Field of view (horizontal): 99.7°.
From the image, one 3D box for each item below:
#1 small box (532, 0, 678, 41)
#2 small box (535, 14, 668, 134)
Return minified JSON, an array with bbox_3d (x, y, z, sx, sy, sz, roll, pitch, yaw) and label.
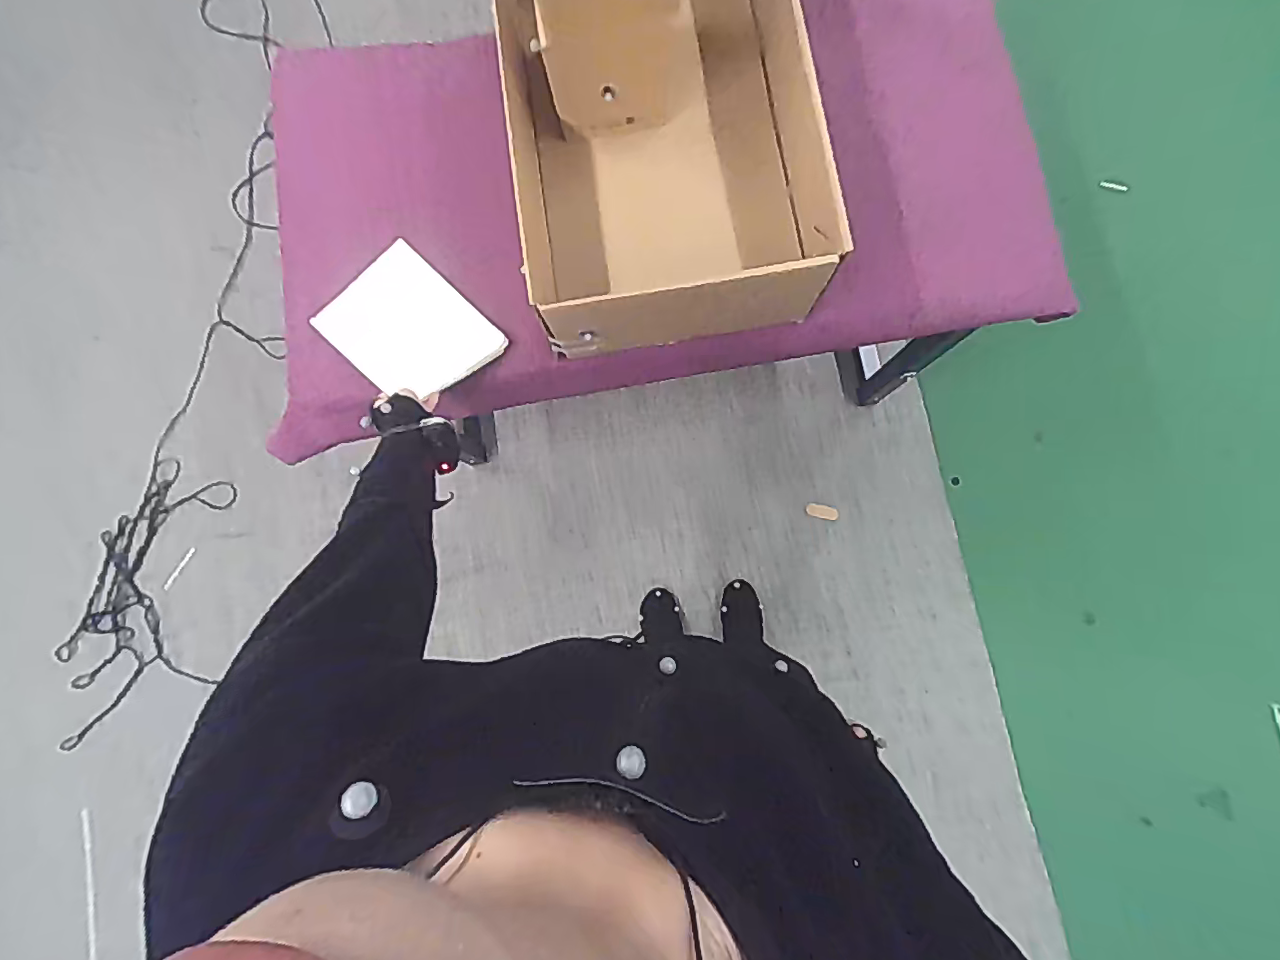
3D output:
[{"bbox_3d":[-0.056,-0.645,0.606,0.179,0.176,0.168,-11,83,2],"label":"small box"},{"bbox_3d":[-0.052,-0.628,0.767,0.168,0.176,0.179,-8,83,2],"label":"small box"}]
